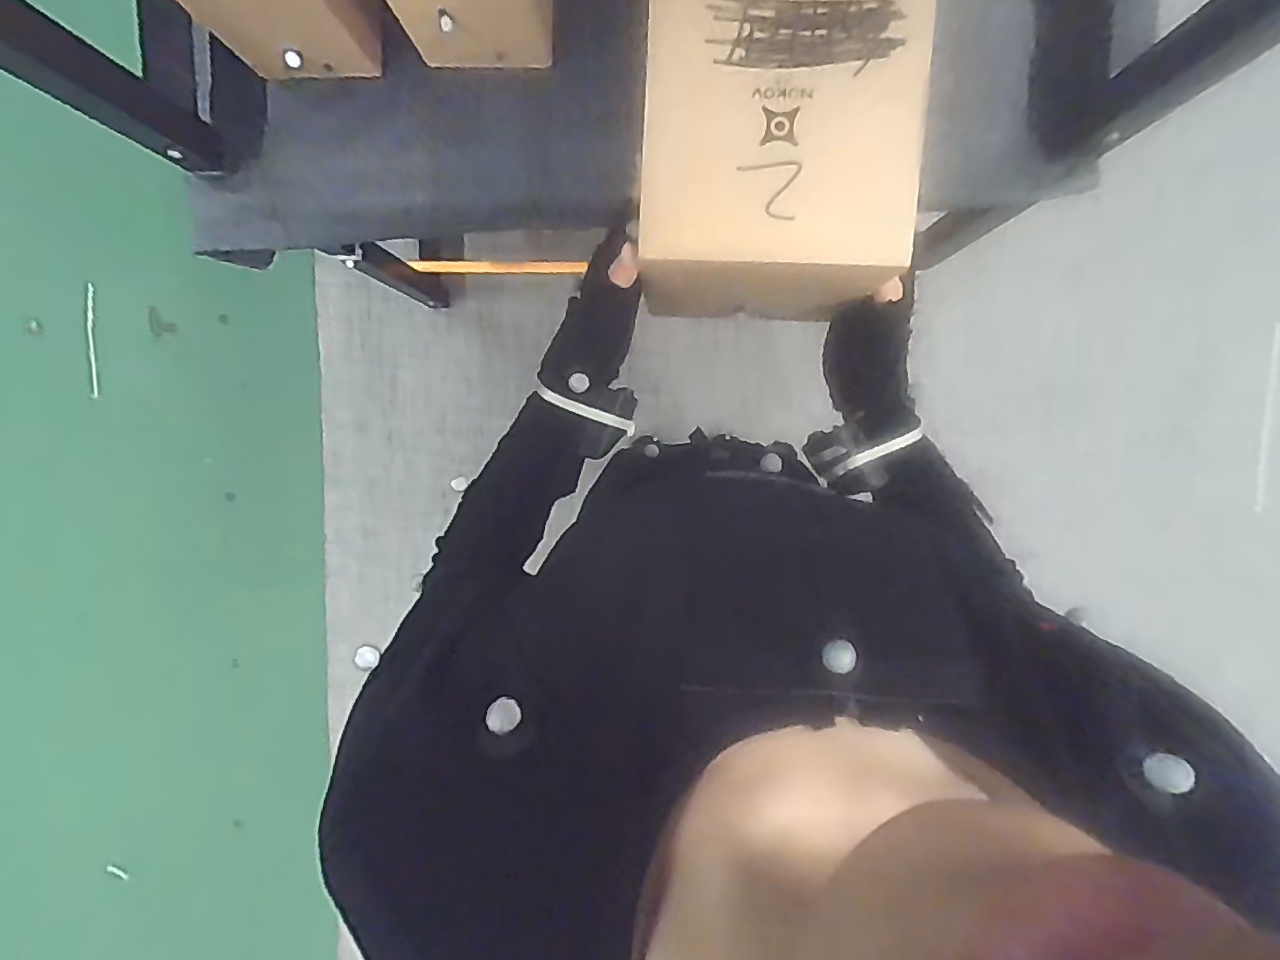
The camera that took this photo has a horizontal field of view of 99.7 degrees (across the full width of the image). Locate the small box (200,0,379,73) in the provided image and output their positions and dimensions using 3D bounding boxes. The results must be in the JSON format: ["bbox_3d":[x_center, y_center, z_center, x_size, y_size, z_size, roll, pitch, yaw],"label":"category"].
[{"bbox_3d":[-0.428,-0.627,0.635,0.168,0.176,0.179,1,95,2],"label":"small box"}]

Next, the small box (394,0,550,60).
[{"bbox_3d":[-0.201,-0.631,0.629,0.168,0.176,0.179,2,95,2],"label":"small box"}]
